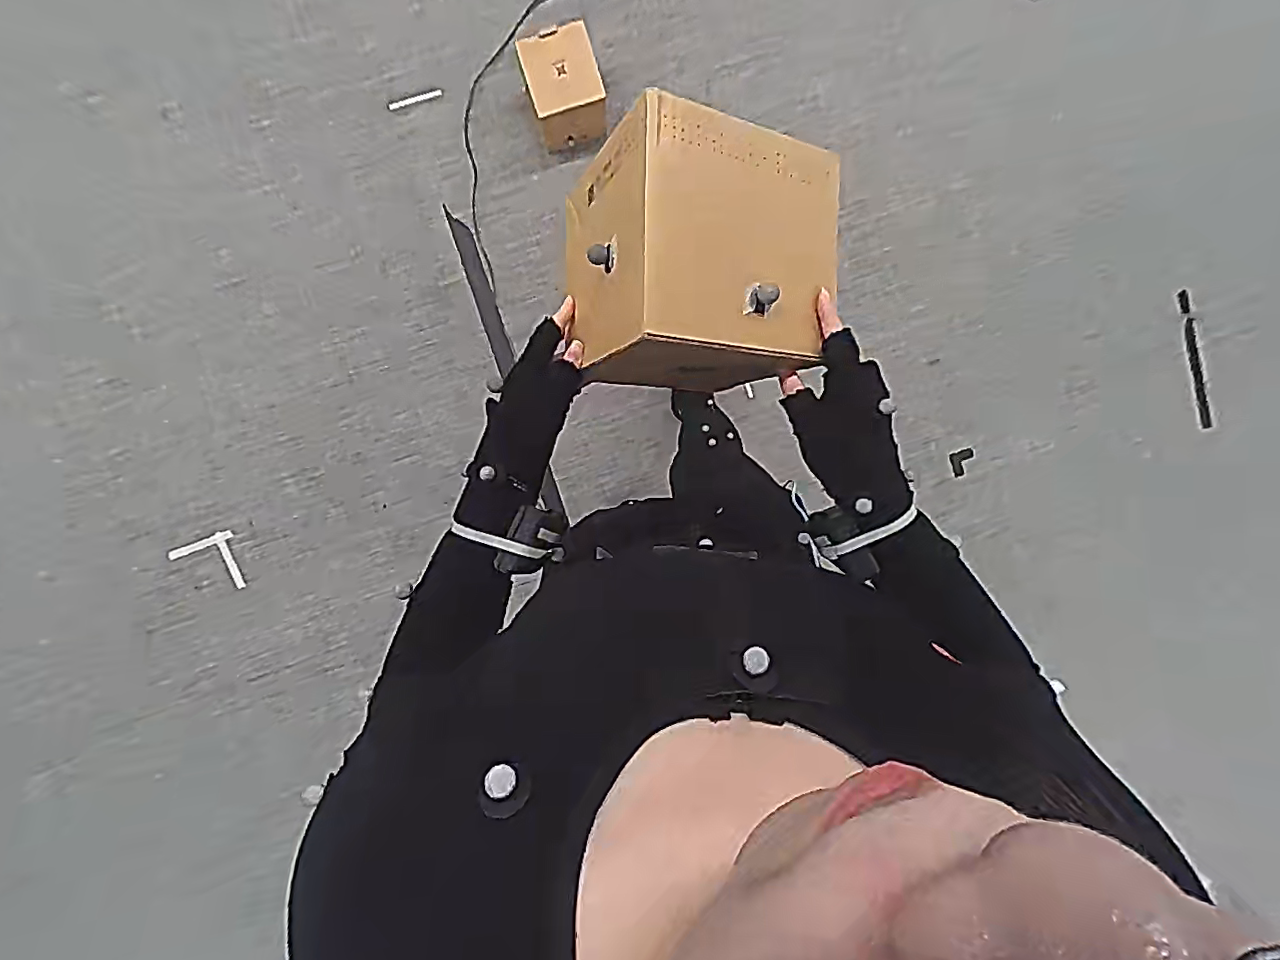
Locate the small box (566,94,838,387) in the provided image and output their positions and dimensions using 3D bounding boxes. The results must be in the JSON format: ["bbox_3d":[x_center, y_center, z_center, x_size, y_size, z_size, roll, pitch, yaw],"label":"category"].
[{"bbox_3d":[0.044,-0.183,0.463,0.179,0.168,0.176,-1,90,-27],"label":"small box"}]

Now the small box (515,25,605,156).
[{"bbox_3d":[-0.188,-0.931,1.307,0.168,0.176,0.179,-18,96,-1],"label":"small box"}]
